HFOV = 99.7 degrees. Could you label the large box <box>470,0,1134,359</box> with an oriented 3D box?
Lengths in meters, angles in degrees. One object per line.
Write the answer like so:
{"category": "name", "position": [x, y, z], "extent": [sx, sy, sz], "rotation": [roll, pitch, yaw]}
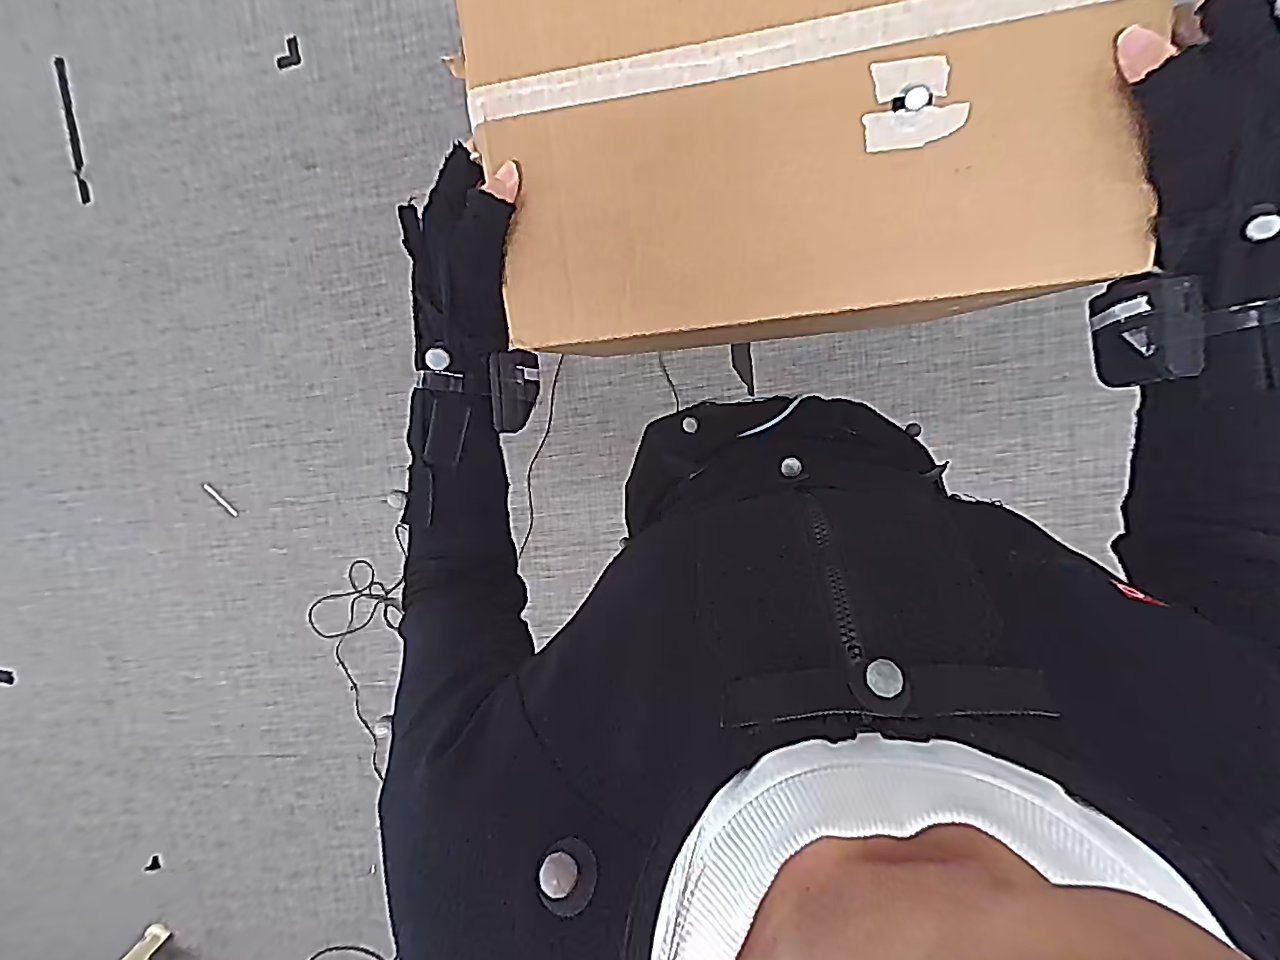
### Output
{"category": "large box", "position": [0.107, -0.295, 0.487], "extent": [0.408, 0.320, 0.320], "rotation": [-5, 101, 7]}
